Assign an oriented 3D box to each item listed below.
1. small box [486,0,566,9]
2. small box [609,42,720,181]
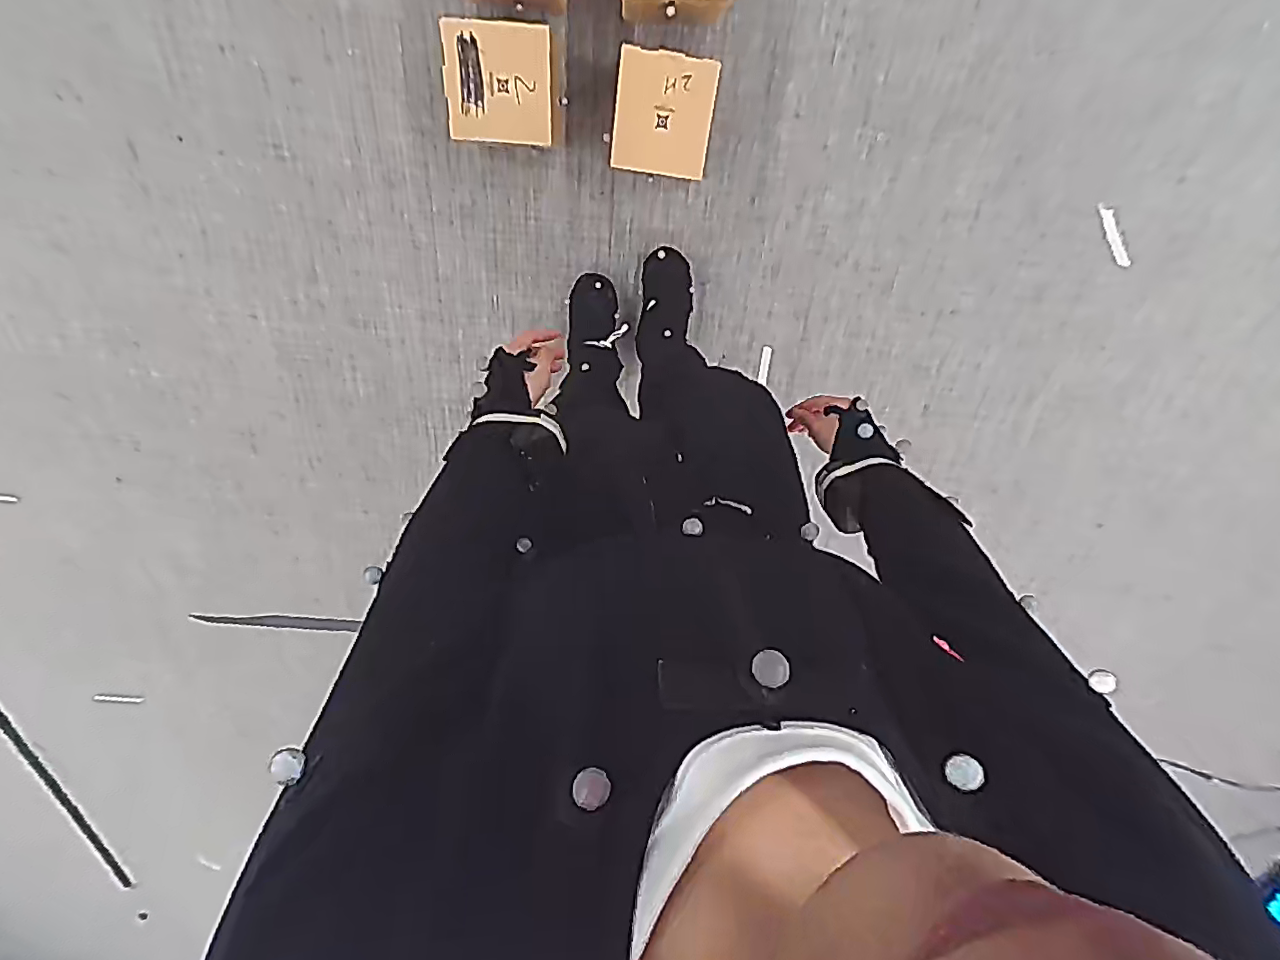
[{"bbox_3d":[-0.211,-0.877,0.852,0.179,0.176,0.168,5,119,-4],"label":"small box"},{"bbox_3d":[0.038,-0.657,0.982,0.168,0.176,0.179,6,119,-5],"label":"small box"}]
